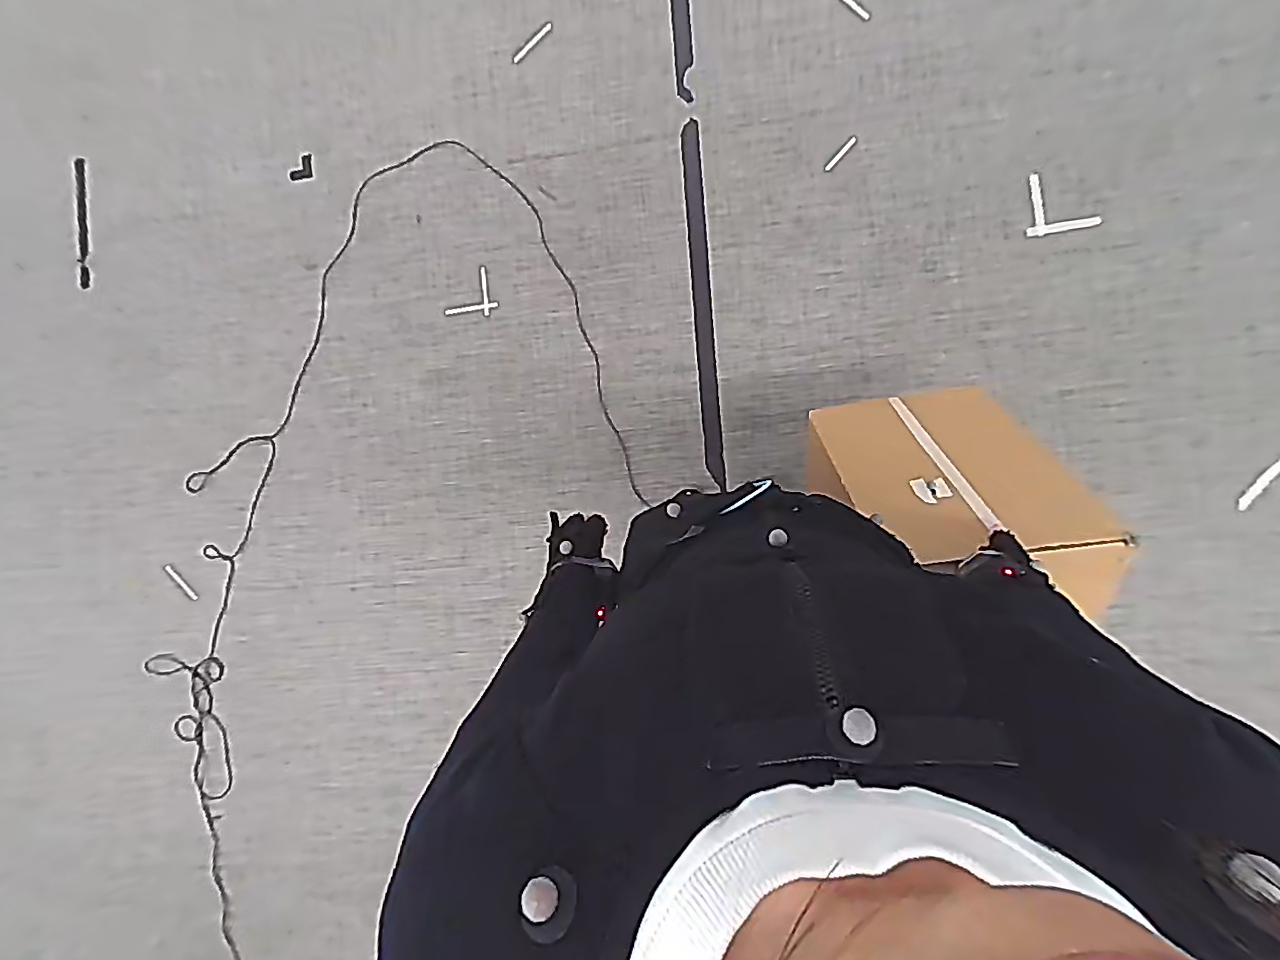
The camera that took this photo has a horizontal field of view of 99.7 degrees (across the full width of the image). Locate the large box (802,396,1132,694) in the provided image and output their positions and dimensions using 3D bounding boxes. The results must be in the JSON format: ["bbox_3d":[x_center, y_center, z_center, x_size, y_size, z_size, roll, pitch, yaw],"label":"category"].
[{"bbox_3d":[0.494,0.100,0.945,0.320,0.408,0.320,-9,128,5],"label":"large box"}]
